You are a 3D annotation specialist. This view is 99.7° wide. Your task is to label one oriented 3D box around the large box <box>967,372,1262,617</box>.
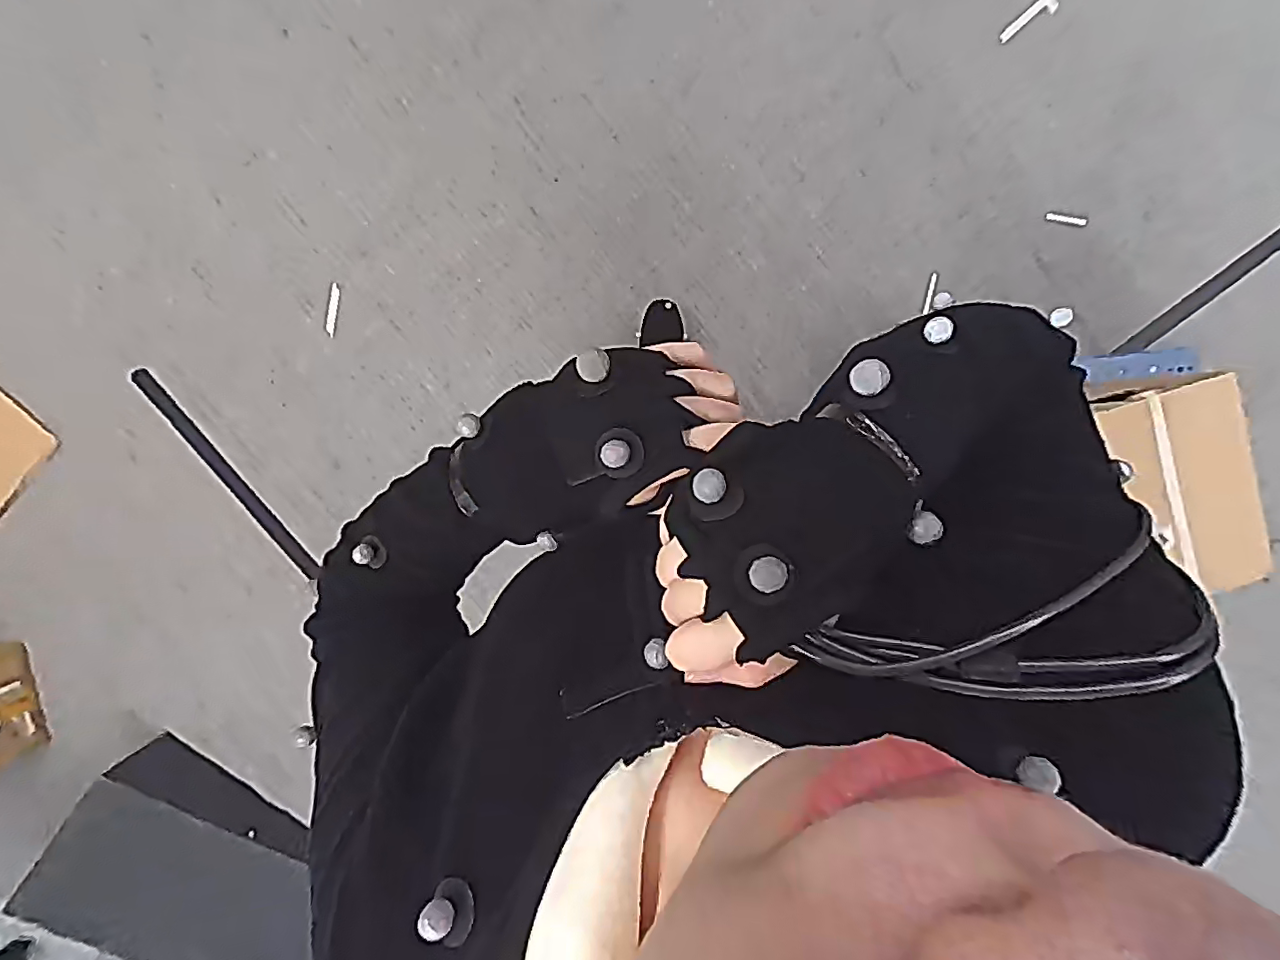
[{"bbox_3d":[0.978,0.016,1.158,0.320,0.320,0.408,-17,96,2],"label":"large box"}]
